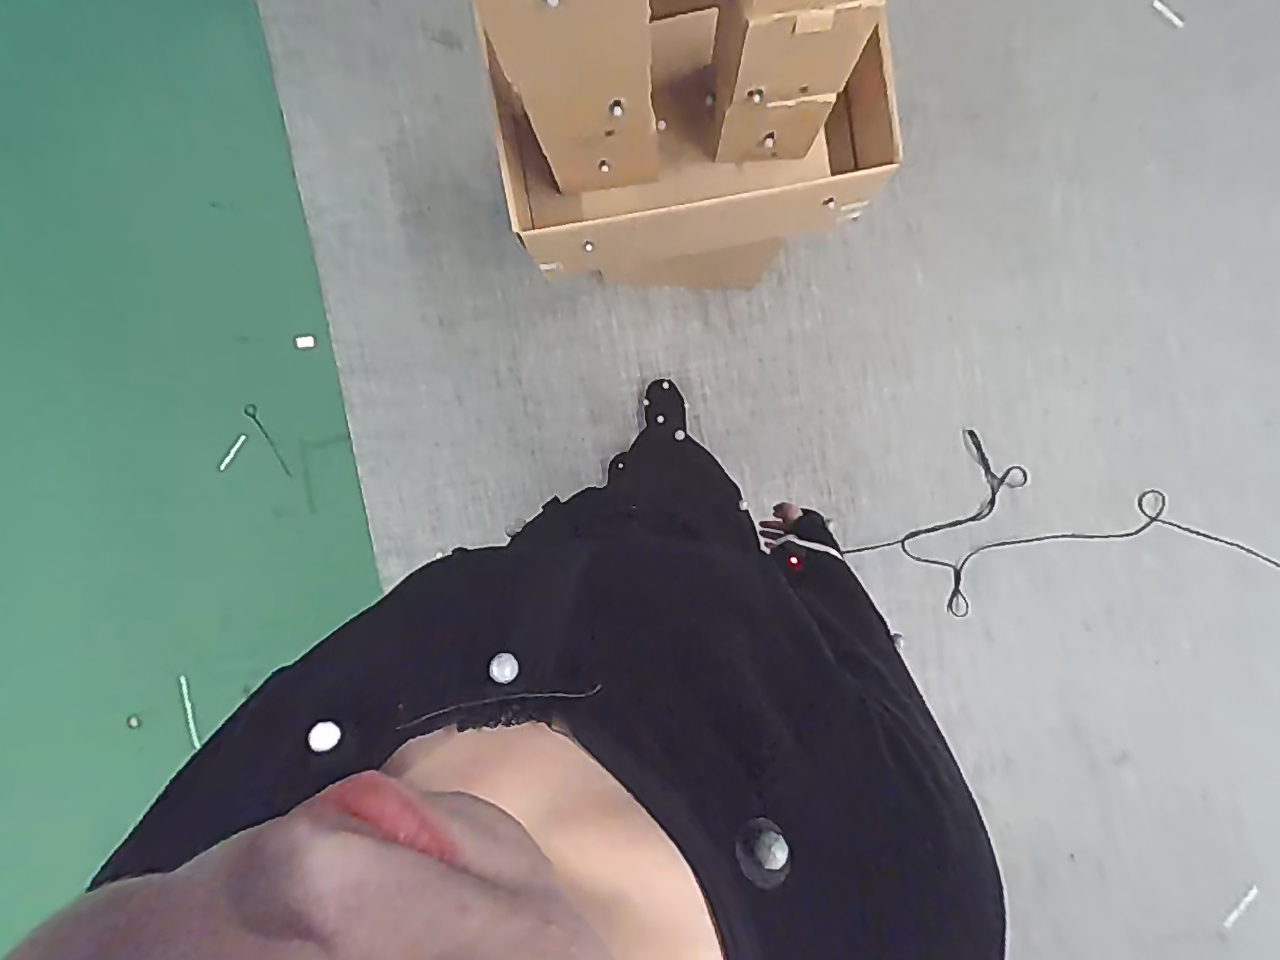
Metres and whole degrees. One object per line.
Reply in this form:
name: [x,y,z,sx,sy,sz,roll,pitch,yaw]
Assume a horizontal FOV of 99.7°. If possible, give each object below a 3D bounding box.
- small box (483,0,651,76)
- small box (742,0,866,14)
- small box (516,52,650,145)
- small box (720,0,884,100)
small box: [-0.082,-0.561,0.562,0.179,0.176,0.168,-5,95,1]
small box: [0.193,-0.627,0.552,0.179,0.176,0.168,-7,94,2]
small box: [-0.078,-0.581,0.726,0.168,0.176,0.179,-9,94,1]
small box: [0.202,-0.639,0.714,0.168,0.176,0.179,-6,94,2]
